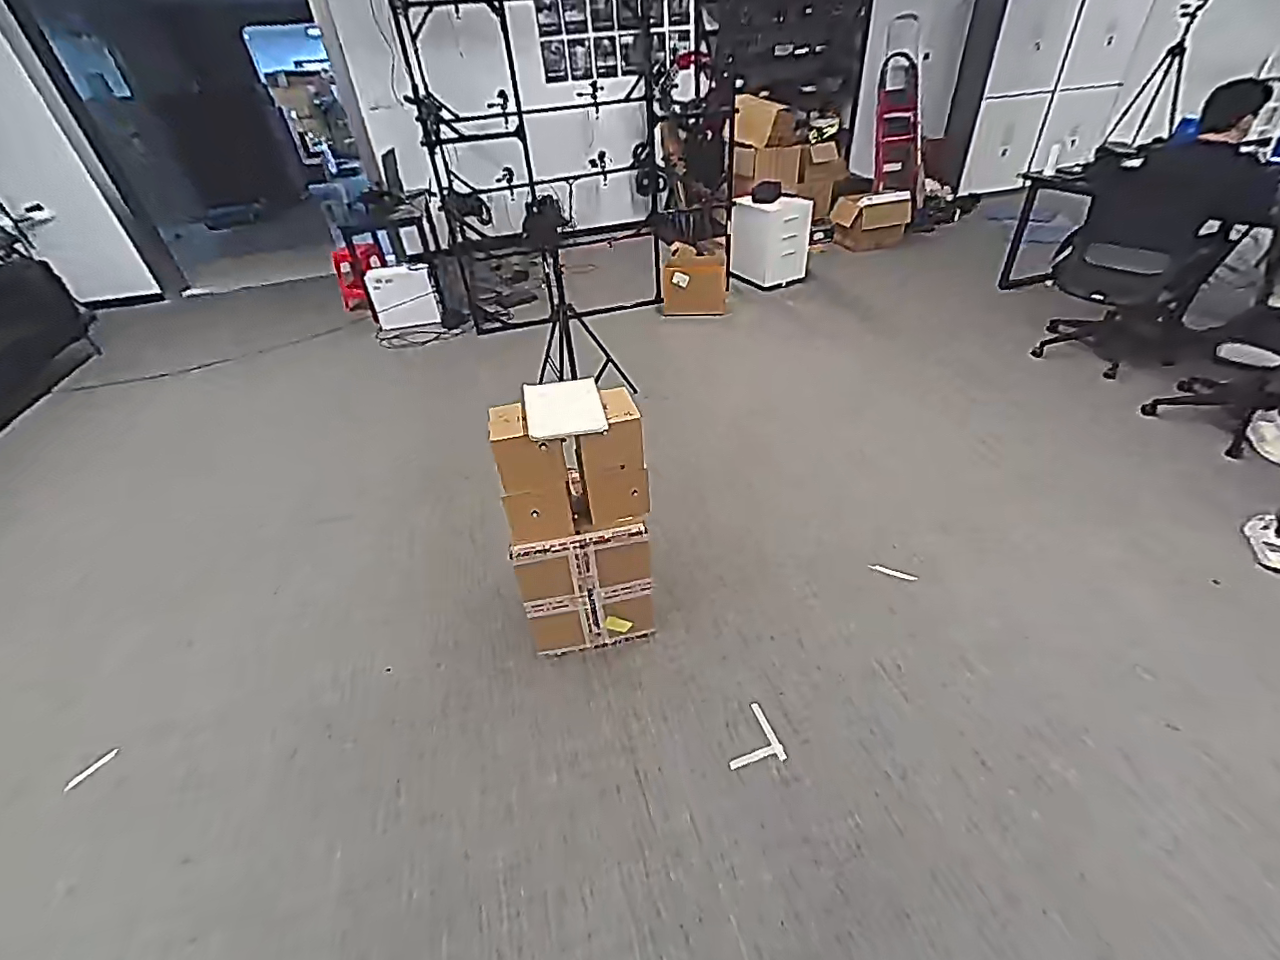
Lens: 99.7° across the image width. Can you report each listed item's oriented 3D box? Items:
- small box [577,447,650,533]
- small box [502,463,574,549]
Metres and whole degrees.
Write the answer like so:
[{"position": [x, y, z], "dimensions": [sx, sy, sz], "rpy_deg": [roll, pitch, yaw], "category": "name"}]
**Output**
[{"position": [-0.076, 0.030, 1.577], "dimensions": [0.179, 0.176, 0.168], "rpy_deg": [-13, 40, -11], "category": "small box"}, {"position": [-0.284, 0.075, 1.542], "dimensions": [0.179, 0.176, 0.168], "rpy_deg": [-9, 40, -3], "category": "small box"}]
